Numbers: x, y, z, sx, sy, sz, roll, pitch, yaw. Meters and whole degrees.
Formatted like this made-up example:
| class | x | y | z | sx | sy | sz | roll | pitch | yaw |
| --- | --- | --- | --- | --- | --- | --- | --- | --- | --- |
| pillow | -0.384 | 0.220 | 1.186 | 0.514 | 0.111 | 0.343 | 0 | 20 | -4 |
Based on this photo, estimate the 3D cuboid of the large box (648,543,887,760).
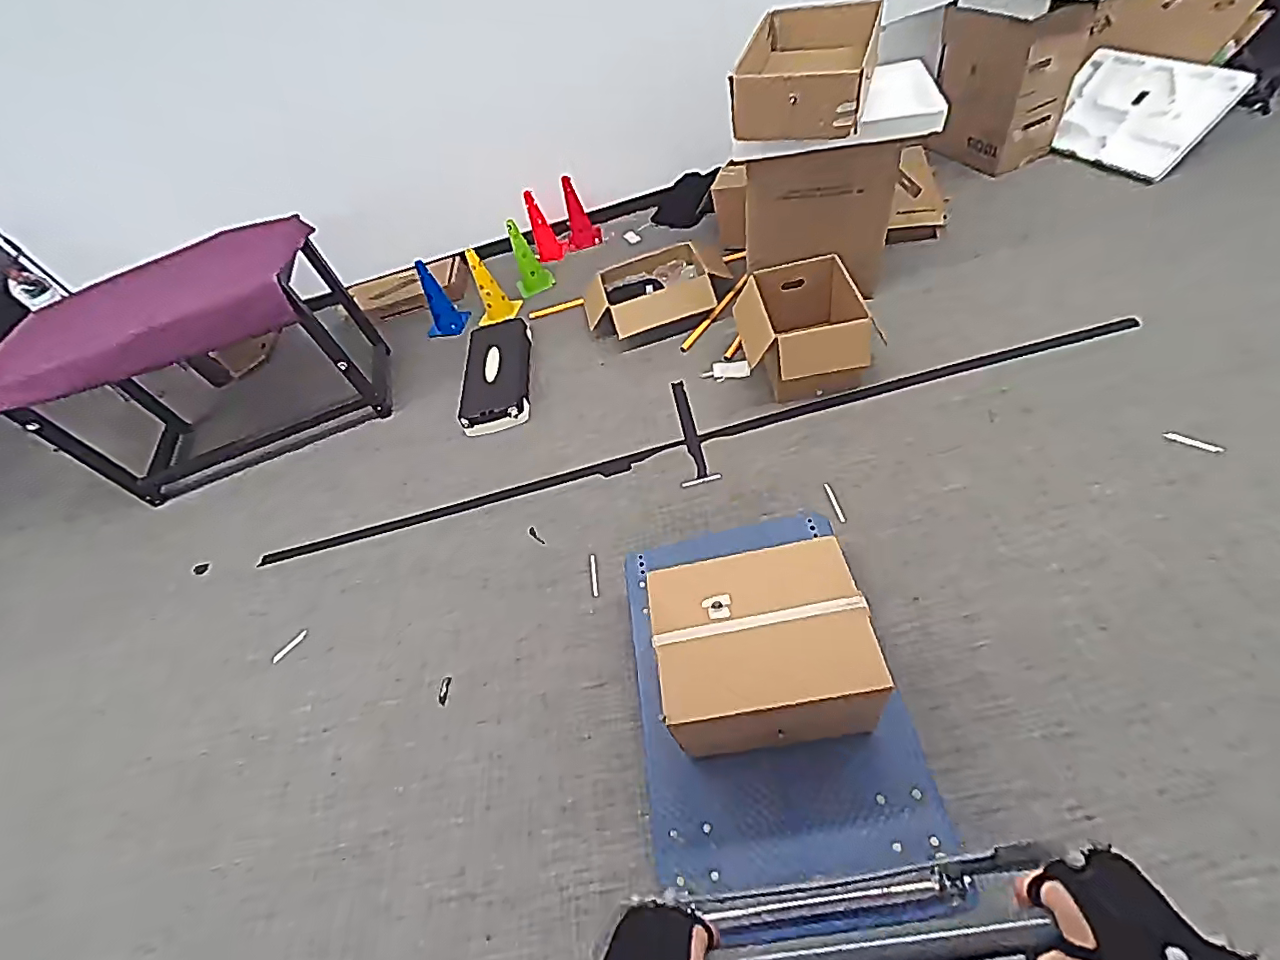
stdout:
| class | x | y | z | sx | sy | sz | roll | pitch | yaw |
| --- | --- | --- | --- | --- | --- | --- | --- | --- | --- |
| large box | 0.260 | 0.382 | 1.171 | 0.408 | 0.320 | 0.320 | -13 | 50 | 7 |
